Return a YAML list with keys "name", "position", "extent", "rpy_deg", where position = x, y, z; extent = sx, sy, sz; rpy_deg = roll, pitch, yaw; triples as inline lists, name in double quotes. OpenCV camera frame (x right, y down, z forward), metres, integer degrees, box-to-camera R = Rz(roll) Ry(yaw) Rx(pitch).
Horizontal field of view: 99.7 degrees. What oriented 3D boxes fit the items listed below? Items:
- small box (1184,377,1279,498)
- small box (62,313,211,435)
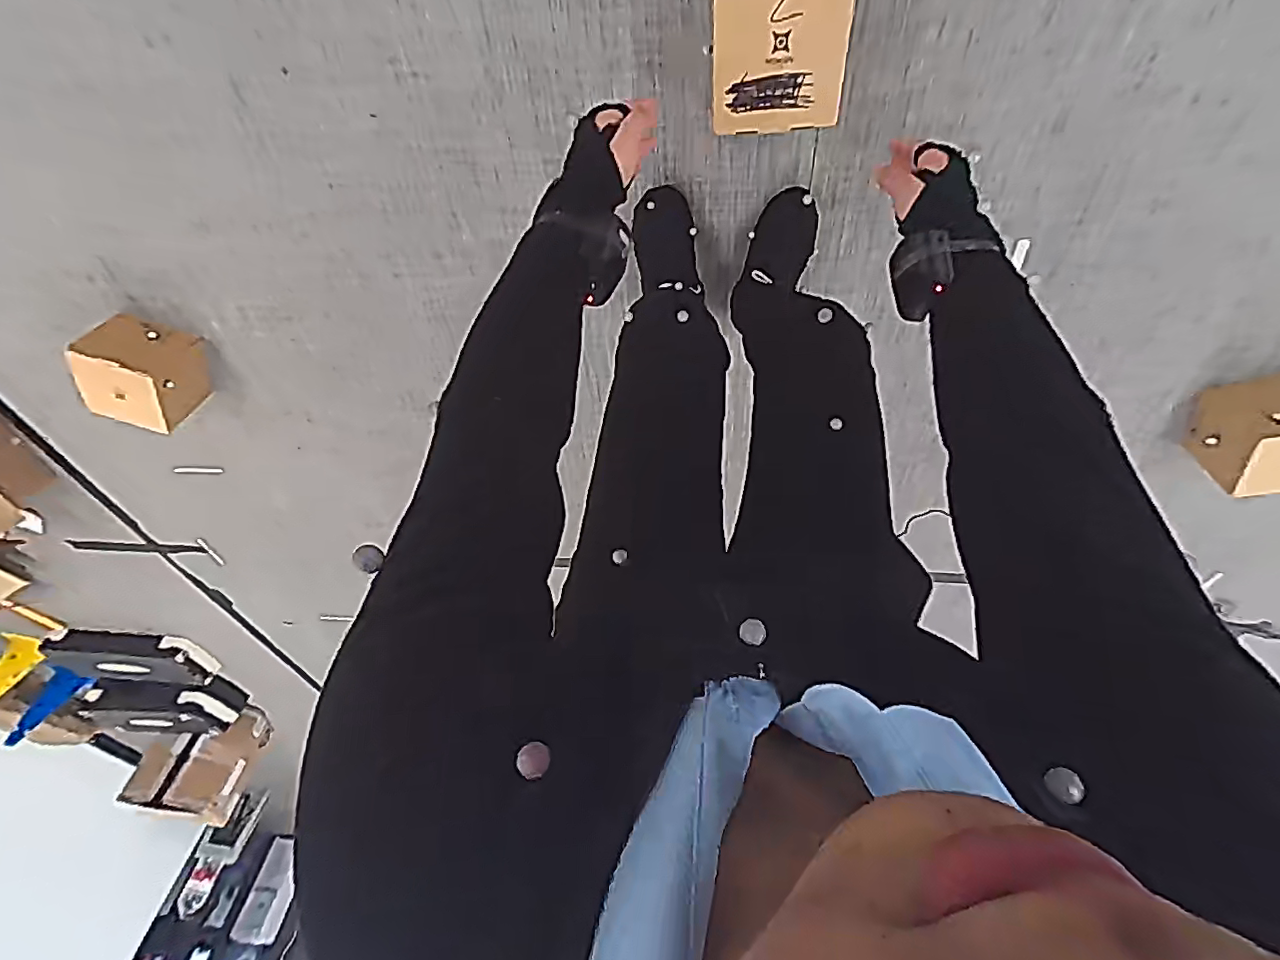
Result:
- name: "small box"
  position: [1.267, -0.091, 1.087]
  extent: [0.179, 0.176, 0.168]
  rpy_deg: [-12, 132, 17]
- name: "small box"
  position: [-1.113, -0.239, 1.217]
  extent: [0.168, 0.176, 0.179]
  rpy_deg: [19, 133, -11]
